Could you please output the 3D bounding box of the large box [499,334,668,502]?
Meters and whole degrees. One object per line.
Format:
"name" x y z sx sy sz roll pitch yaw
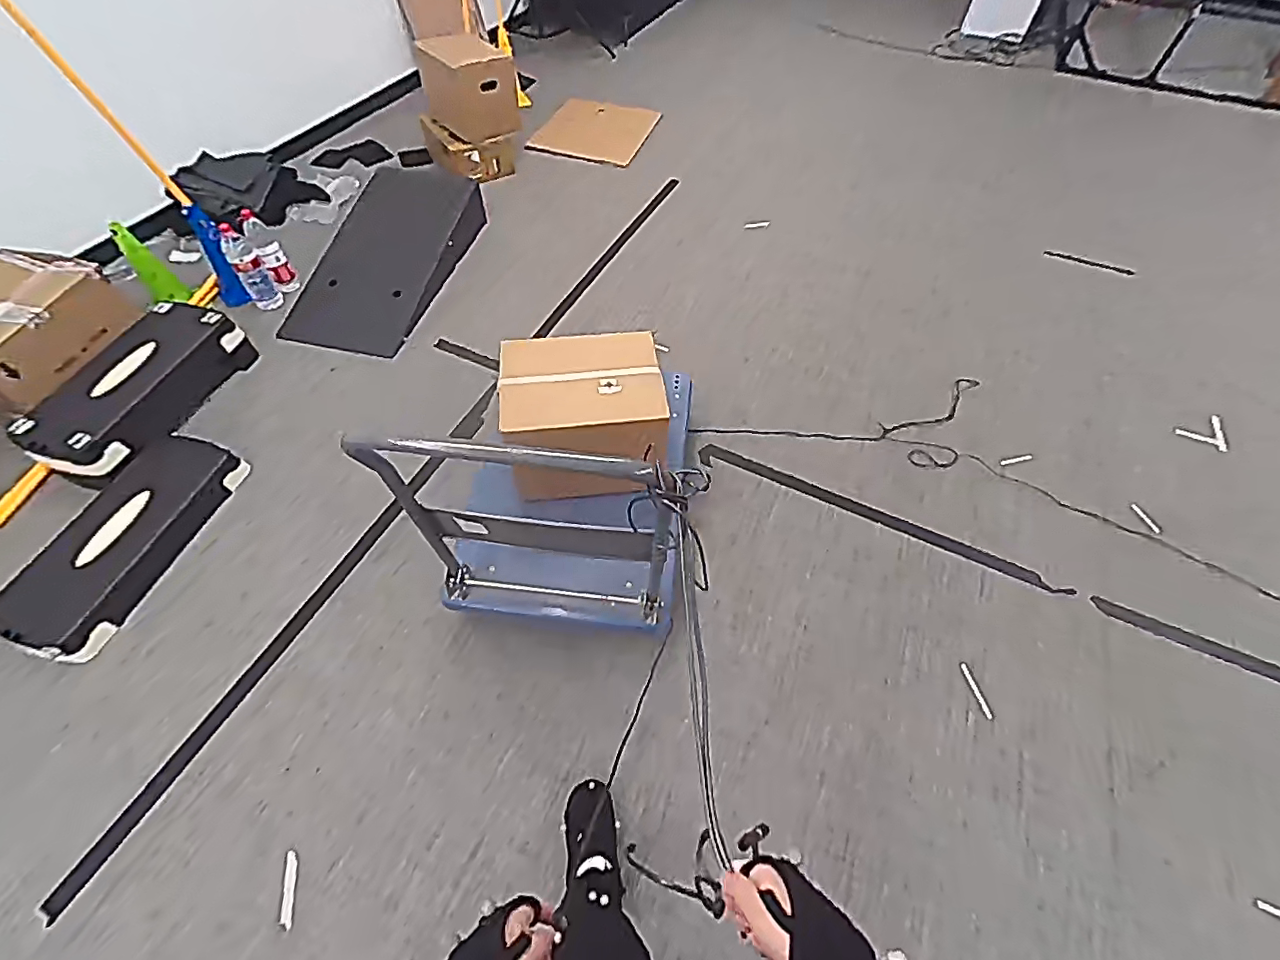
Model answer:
"large box" -0.155 -0.164 1.471 0.408 0.320 0.320 -6 57 -6
